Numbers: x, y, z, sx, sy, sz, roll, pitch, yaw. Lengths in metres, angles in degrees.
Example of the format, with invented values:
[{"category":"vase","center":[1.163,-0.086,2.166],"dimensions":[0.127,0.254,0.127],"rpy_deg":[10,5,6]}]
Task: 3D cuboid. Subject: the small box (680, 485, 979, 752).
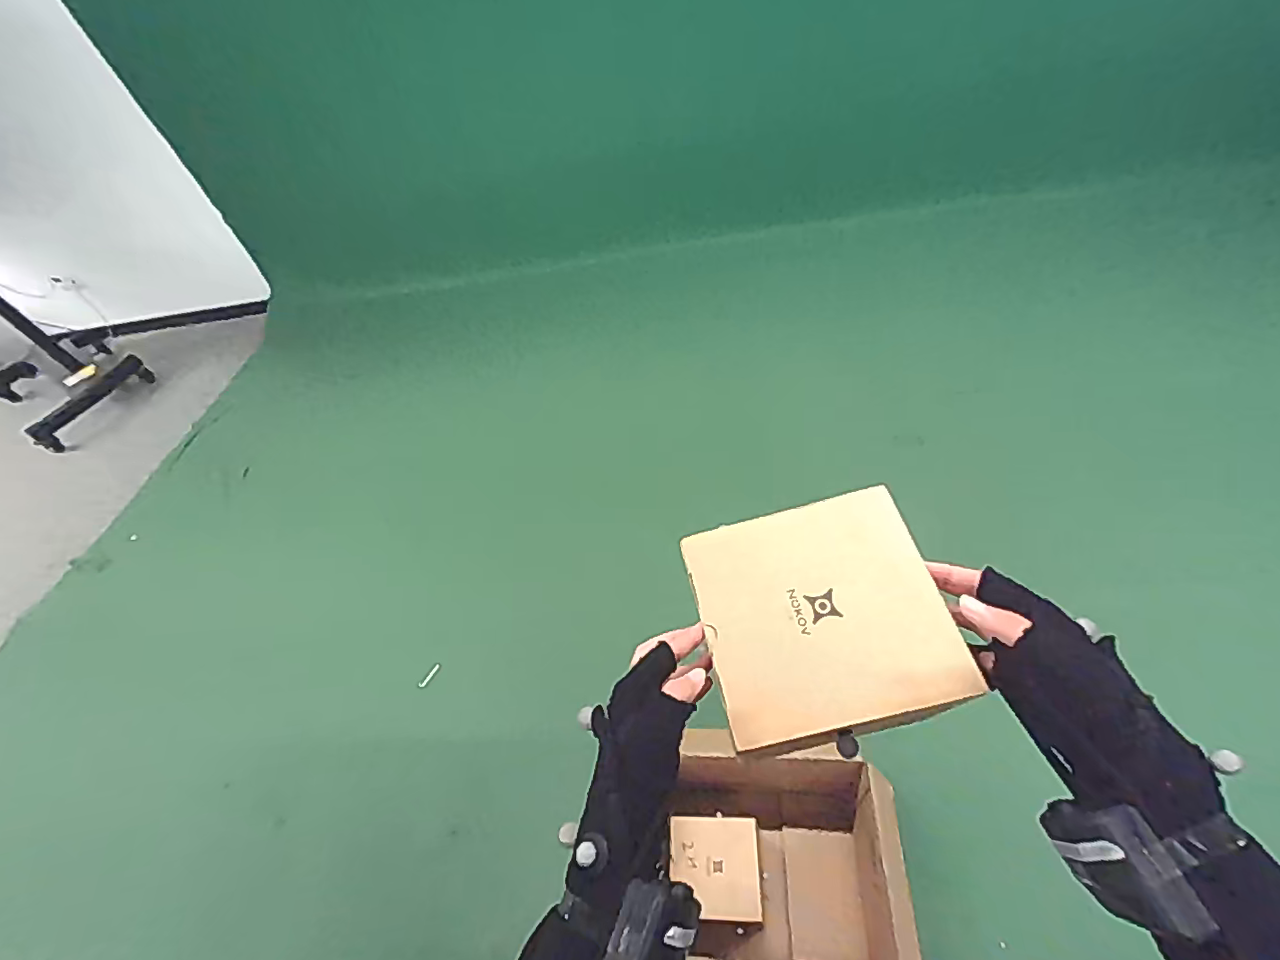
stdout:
[{"category":"small box","center":[0.145,0.130,0.474],"dimensions":[0.179,0.176,0.168],"rpy_deg":[-16,59,4]}]
